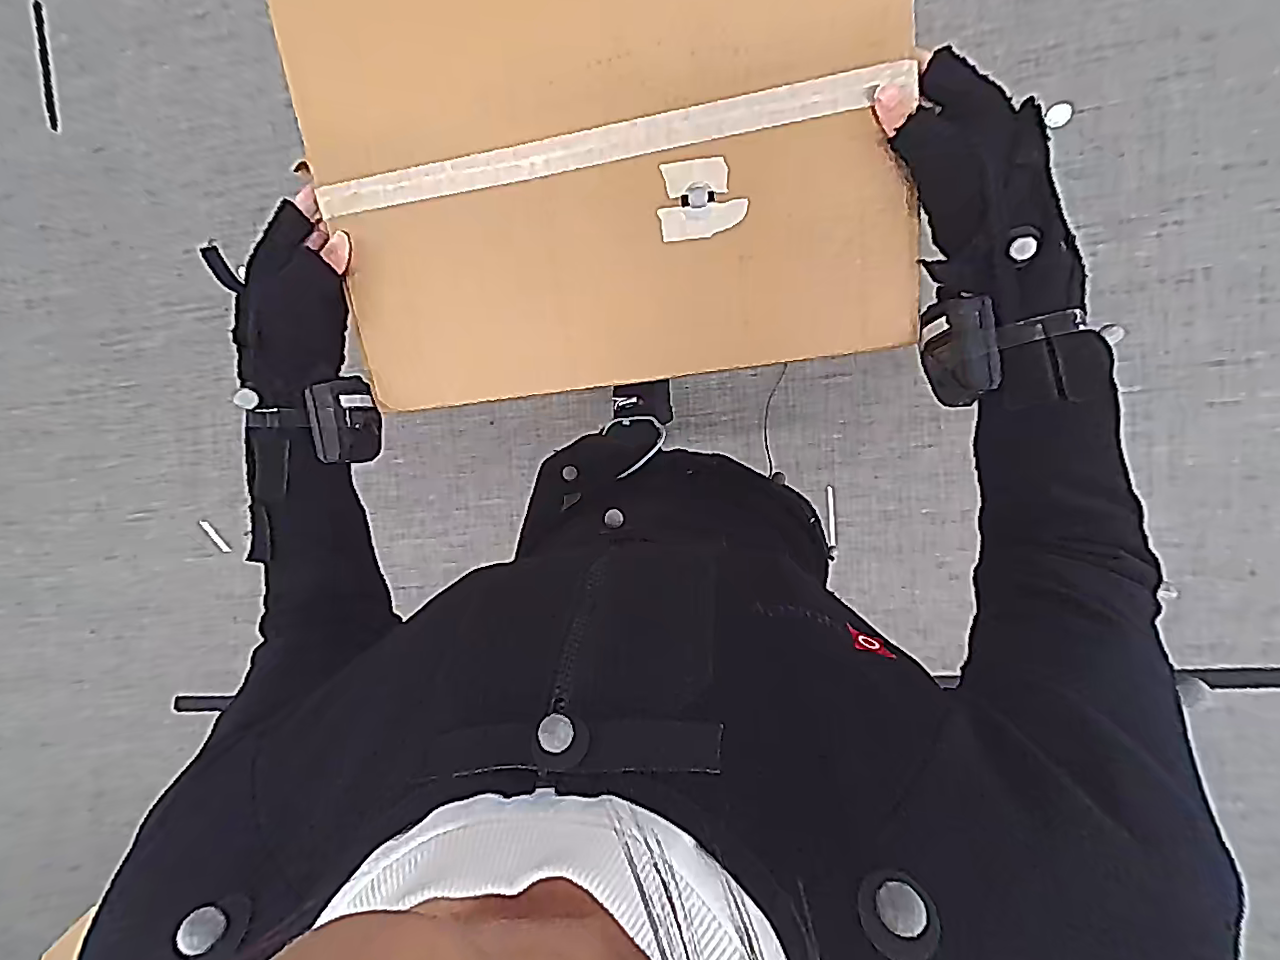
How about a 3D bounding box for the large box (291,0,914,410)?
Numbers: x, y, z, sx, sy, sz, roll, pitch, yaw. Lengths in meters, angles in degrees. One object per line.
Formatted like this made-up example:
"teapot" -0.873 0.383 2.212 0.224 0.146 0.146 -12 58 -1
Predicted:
"large box" -0.010 -0.265 0.517 0.408 0.320 0.320 -7 105 9
